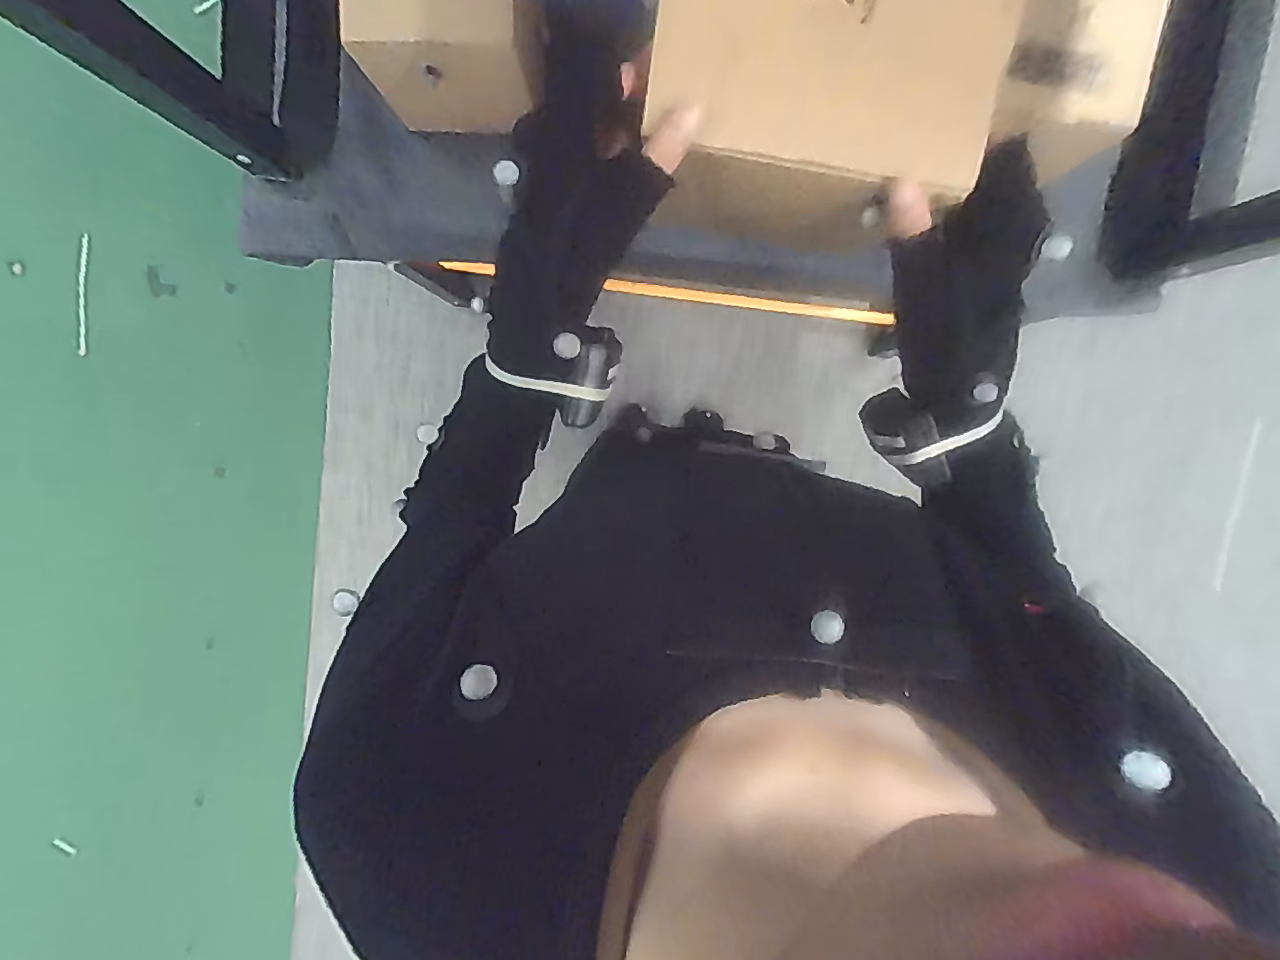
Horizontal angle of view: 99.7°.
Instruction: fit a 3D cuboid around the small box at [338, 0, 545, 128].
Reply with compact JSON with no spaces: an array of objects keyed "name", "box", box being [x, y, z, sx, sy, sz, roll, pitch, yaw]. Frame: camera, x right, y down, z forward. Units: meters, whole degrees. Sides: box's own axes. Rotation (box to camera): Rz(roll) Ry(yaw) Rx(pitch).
[{"name":"small box","box":[-0.210,-0.527,0.609,0.179,0.176,0.168,2,97,-1]}]
